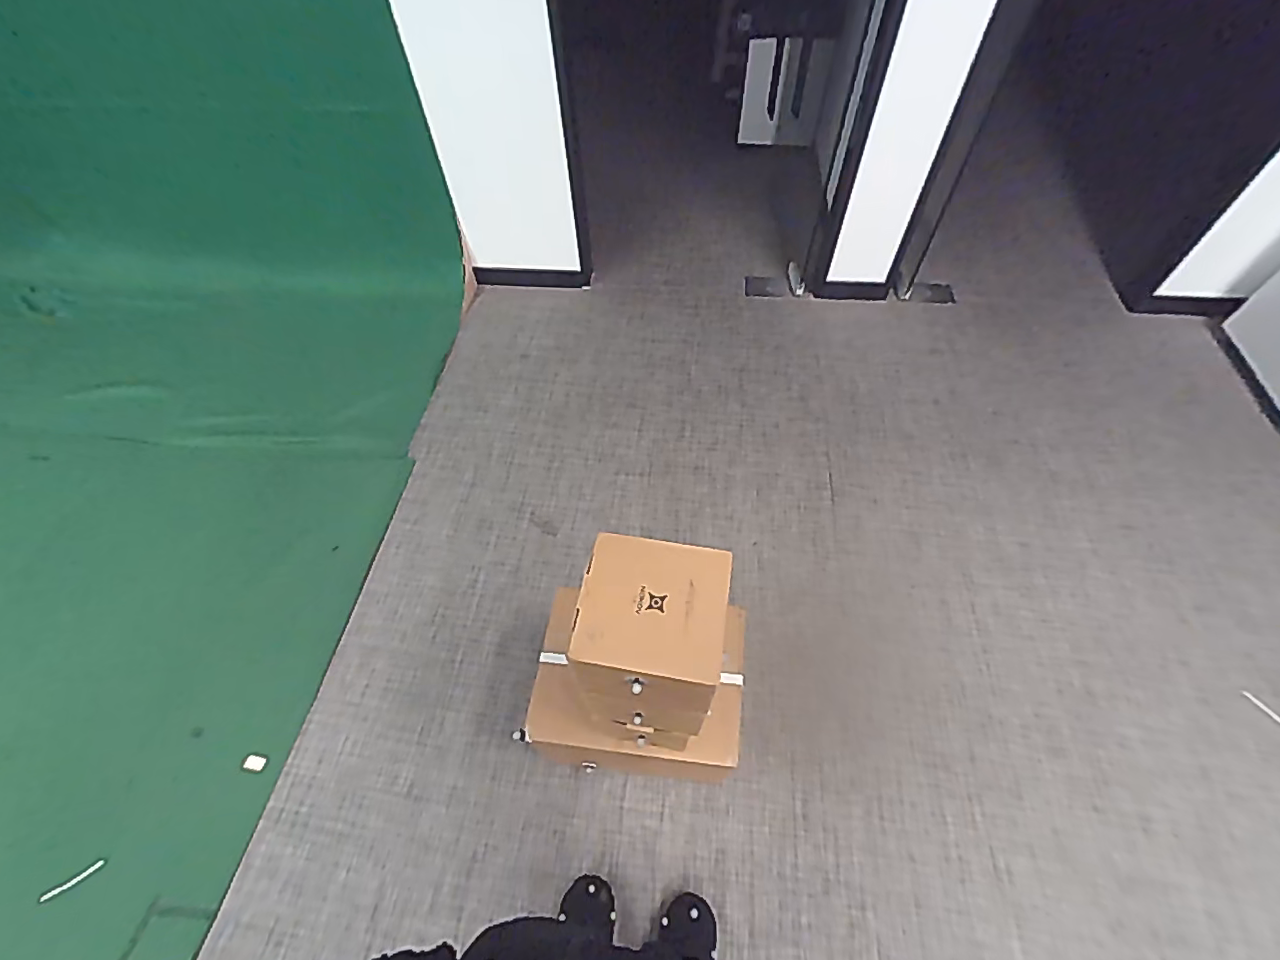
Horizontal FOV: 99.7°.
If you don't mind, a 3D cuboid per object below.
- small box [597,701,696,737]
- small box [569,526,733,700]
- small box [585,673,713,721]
[{"bbox_3d":[0.028,0.355,0.984,0.168,0.176,0.179,7,58,8],"label":"small box"},{"bbox_3d":[0.021,0.179,0.710,0.179,0.176,0.168,7,58,7],"label":"small box"},{"bbox_3d":[0.027,0.268,0.844,0.179,0.176,0.168,6,57,8],"label":"small box"}]
